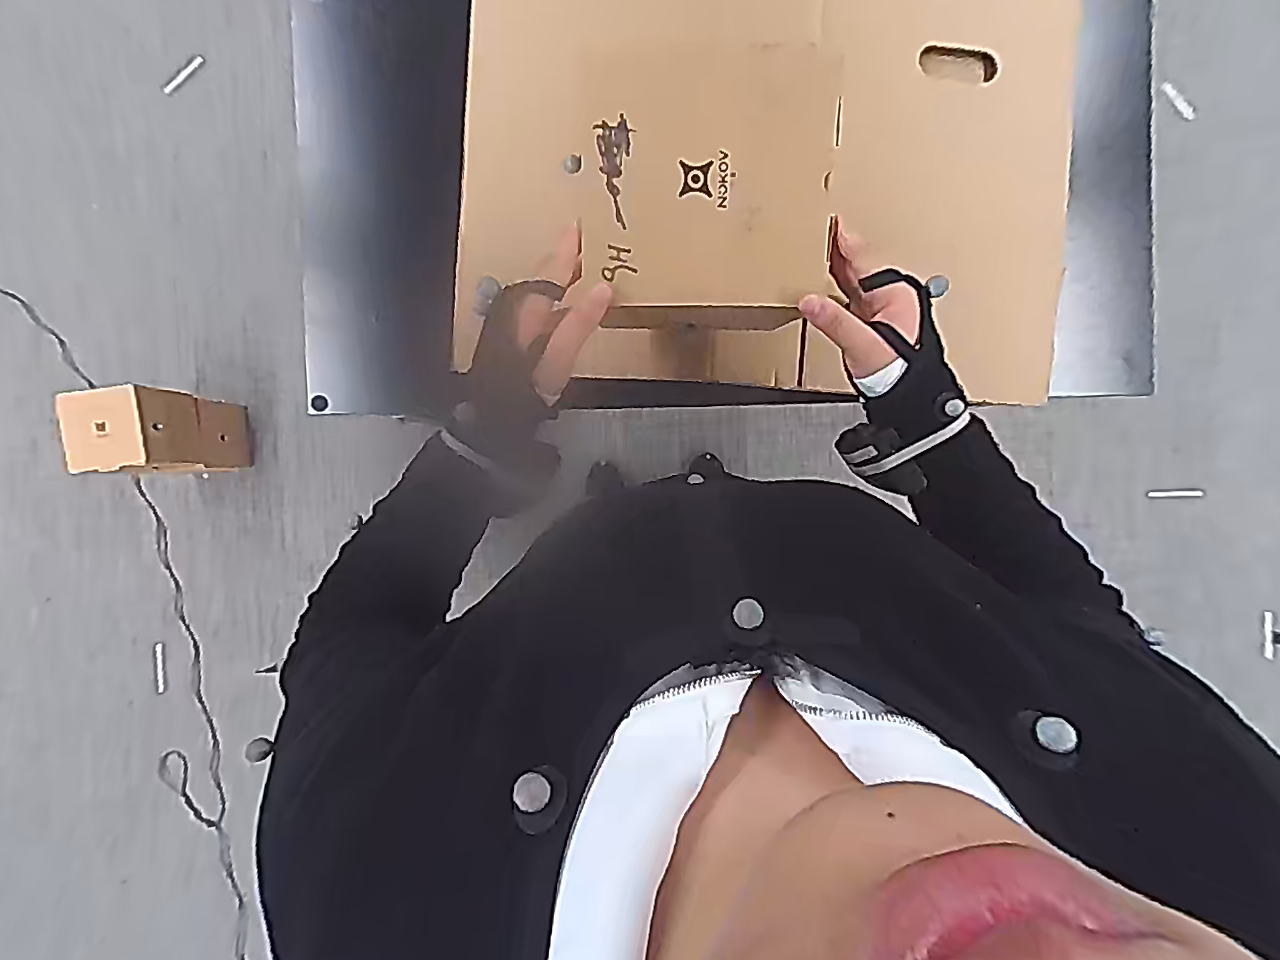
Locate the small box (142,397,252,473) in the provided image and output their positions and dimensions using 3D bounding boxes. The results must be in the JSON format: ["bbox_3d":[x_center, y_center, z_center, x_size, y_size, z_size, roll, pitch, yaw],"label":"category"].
[{"bbox_3d":[-1.147,-0.112,1.399,0.168,0.176,0.179,-6,92,-1],"label":"small box"}]

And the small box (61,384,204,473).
[{"bbox_3d":[-1.145,-0.114,1.236,0.168,0.176,0.179,-8,91,-1],"label":"small box"}]

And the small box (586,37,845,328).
[{"bbox_3d":[0.048,-0.222,0.450,0.179,0.176,0.168,0,99,-1],"label":"small box"}]
